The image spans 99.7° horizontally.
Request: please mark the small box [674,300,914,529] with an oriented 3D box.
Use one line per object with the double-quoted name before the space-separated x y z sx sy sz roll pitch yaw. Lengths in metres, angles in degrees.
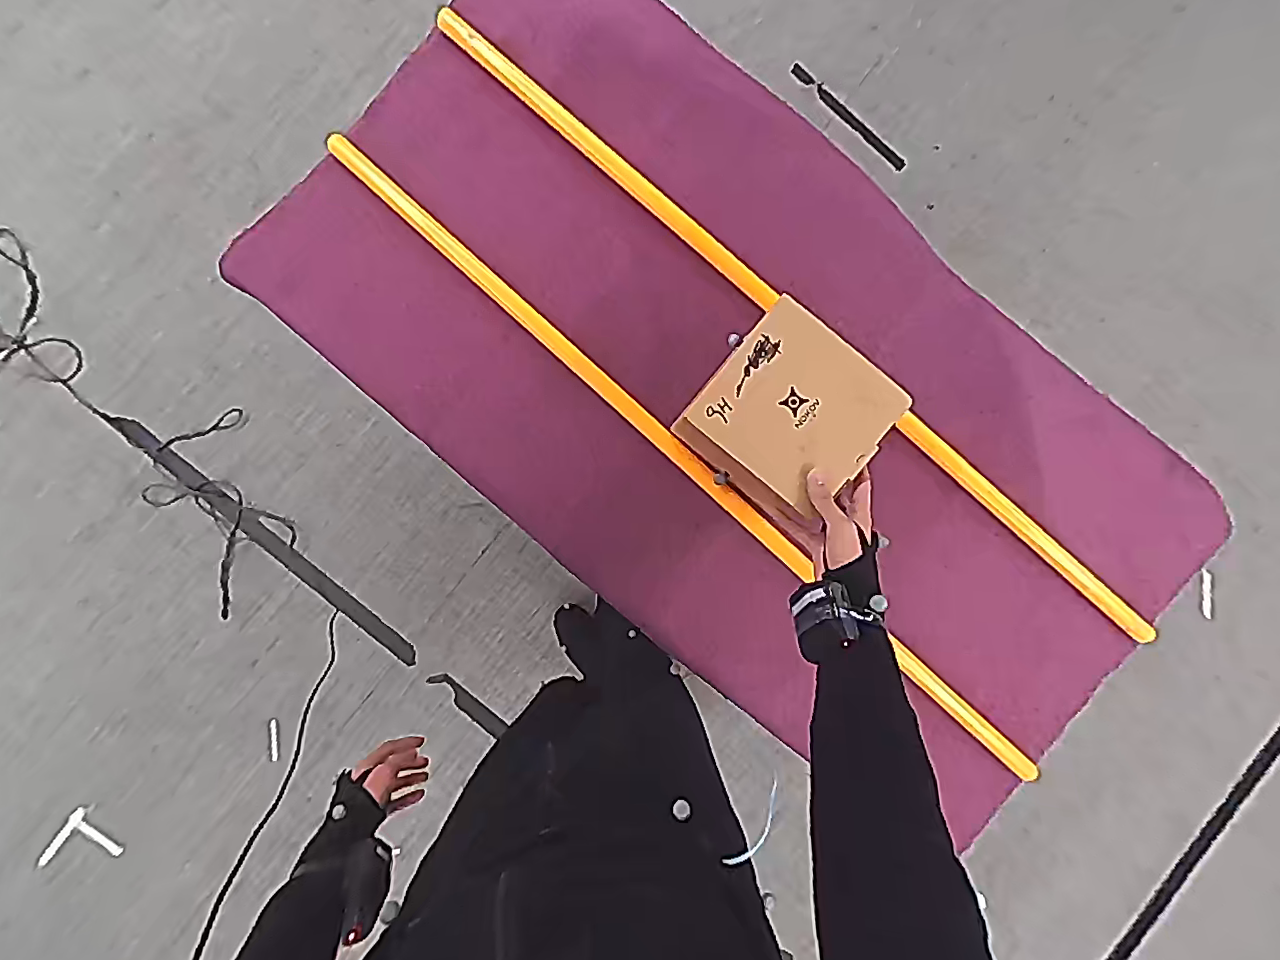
"small box" 0.159 -0.068 0.622 0.179 0.176 0.168 40 89 -2
